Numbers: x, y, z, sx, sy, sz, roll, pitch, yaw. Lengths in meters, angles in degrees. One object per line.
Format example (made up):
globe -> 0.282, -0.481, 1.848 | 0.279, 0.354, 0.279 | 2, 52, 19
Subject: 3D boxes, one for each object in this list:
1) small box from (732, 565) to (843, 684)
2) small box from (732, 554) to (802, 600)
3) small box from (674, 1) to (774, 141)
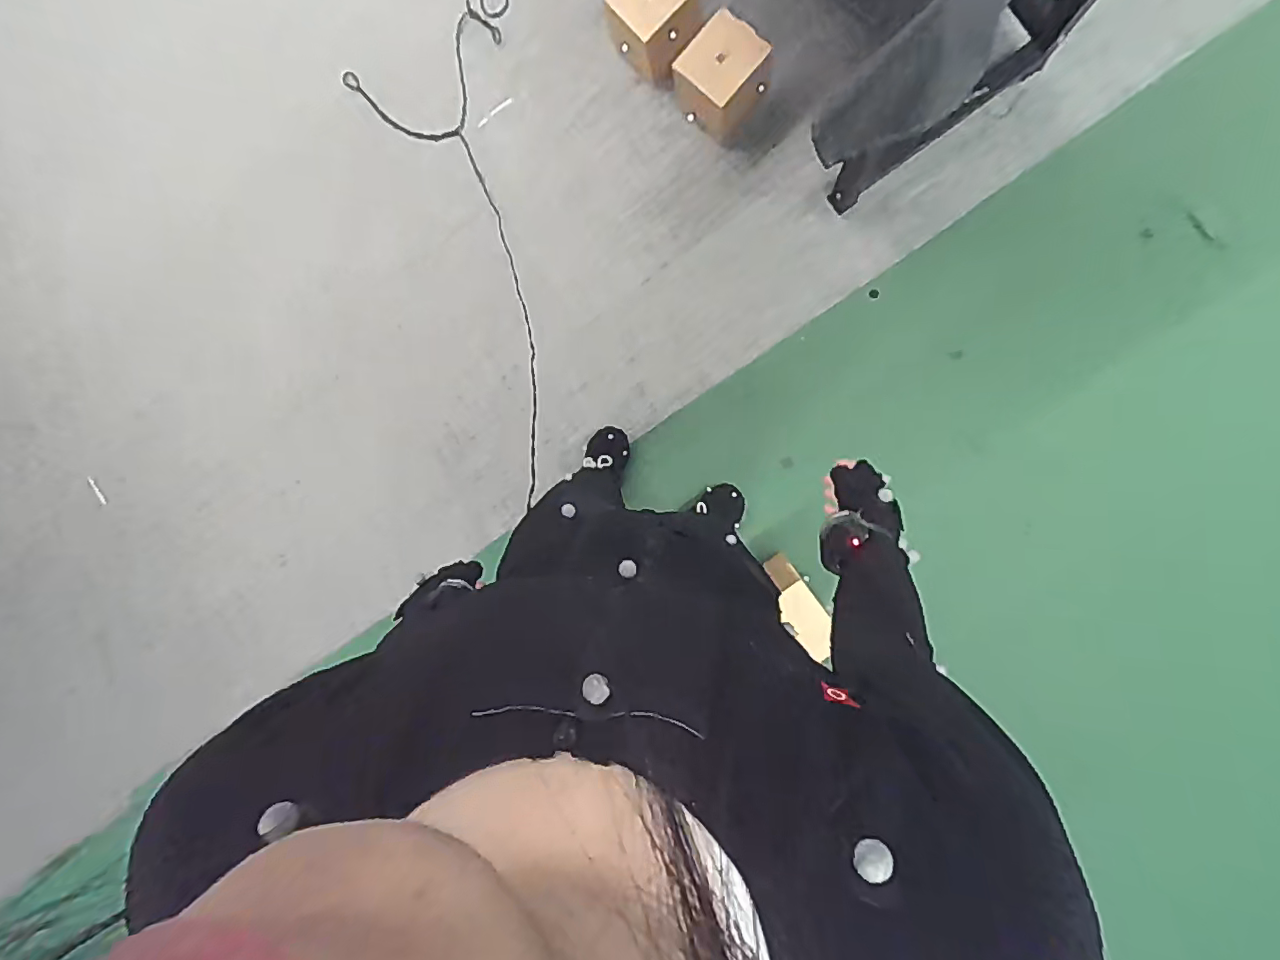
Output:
small box -> 0.320, 0.314, 1.217 | 0.179, 0.176, 0.168 | -37, 88, 8
small box -> 0.346, 0.304, 1.378 | 0.168, 0.176, 0.179 | -36, 86, 8
small box -> 0.202, -1.000, 1.336 | 0.168, 0.176, 0.179 | 44, 97, 4
